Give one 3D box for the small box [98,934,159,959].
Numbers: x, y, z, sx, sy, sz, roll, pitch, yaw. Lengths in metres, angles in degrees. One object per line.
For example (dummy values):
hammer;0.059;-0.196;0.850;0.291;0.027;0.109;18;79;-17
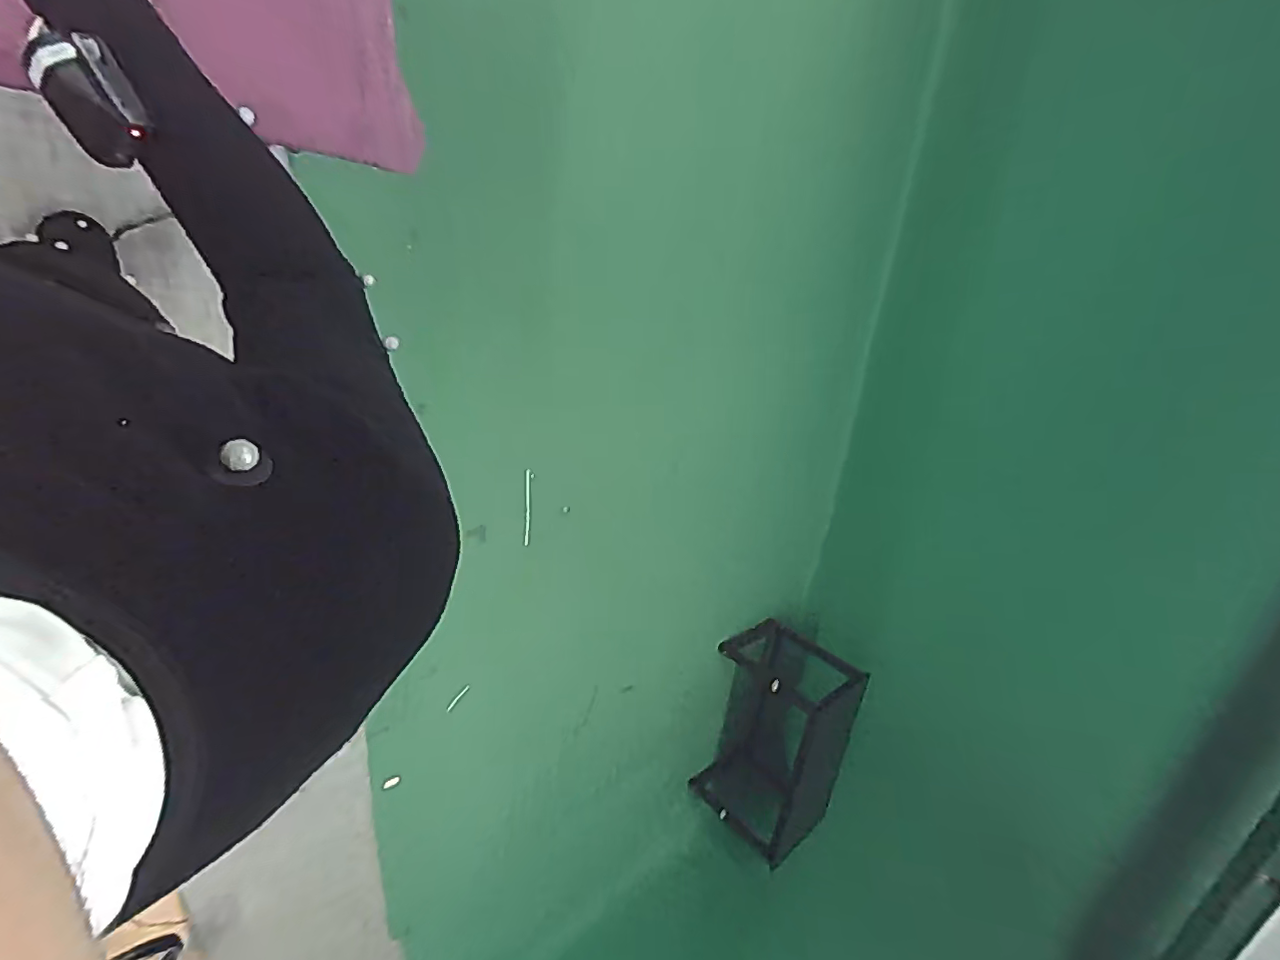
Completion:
small box;-1.518;1.496;1.570;0.179;0.176;0.168;-11;118;-41
